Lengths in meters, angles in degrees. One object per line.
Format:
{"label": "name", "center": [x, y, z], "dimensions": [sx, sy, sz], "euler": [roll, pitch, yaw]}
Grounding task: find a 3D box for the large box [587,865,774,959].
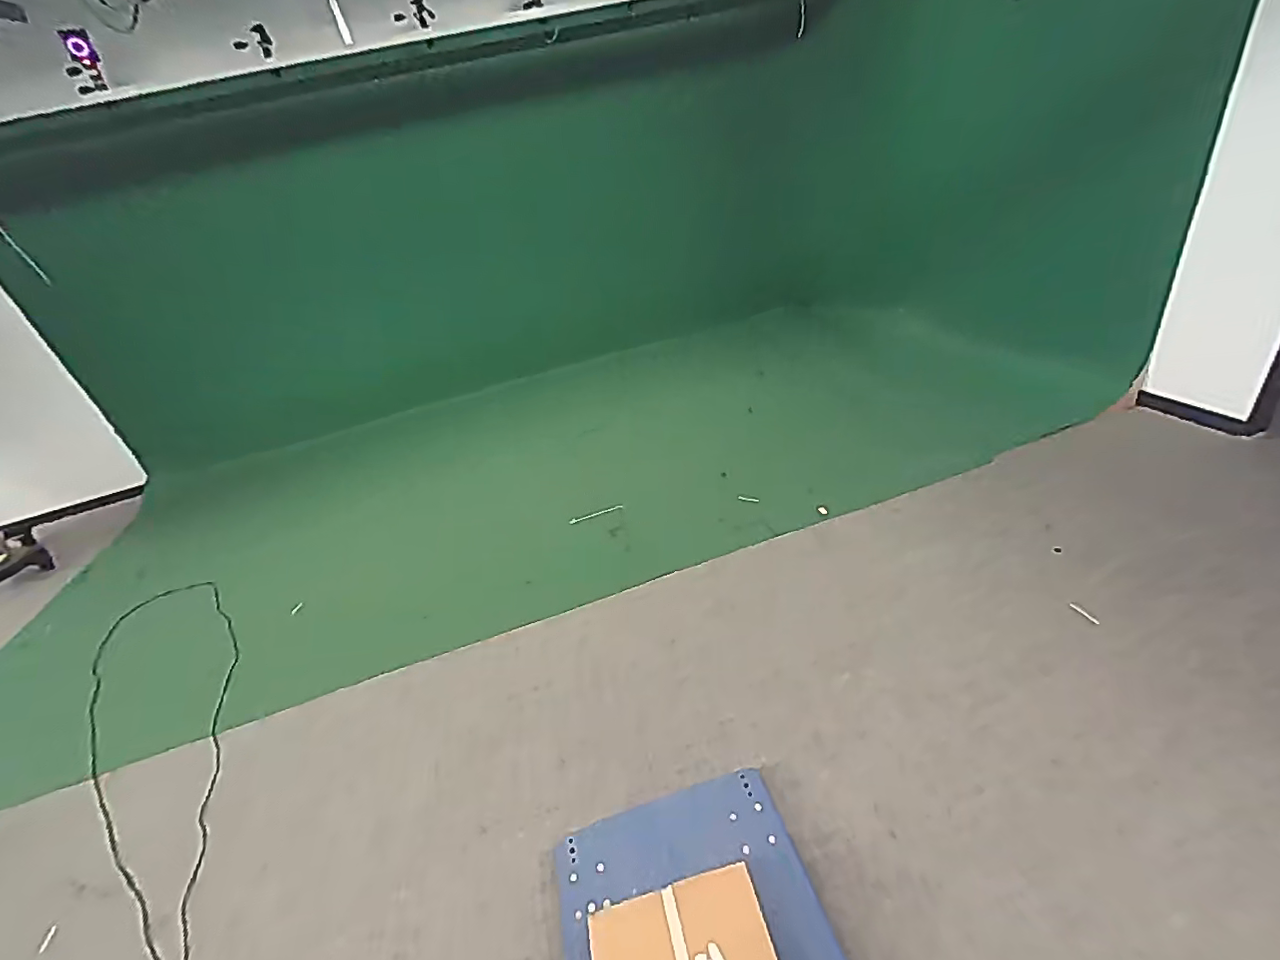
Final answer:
{"label": "large box", "center": [0.118, 0.996, 0.930], "dimensions": [0.320, 0.320, 0.408], "euler": [-15, 31, -4]}
